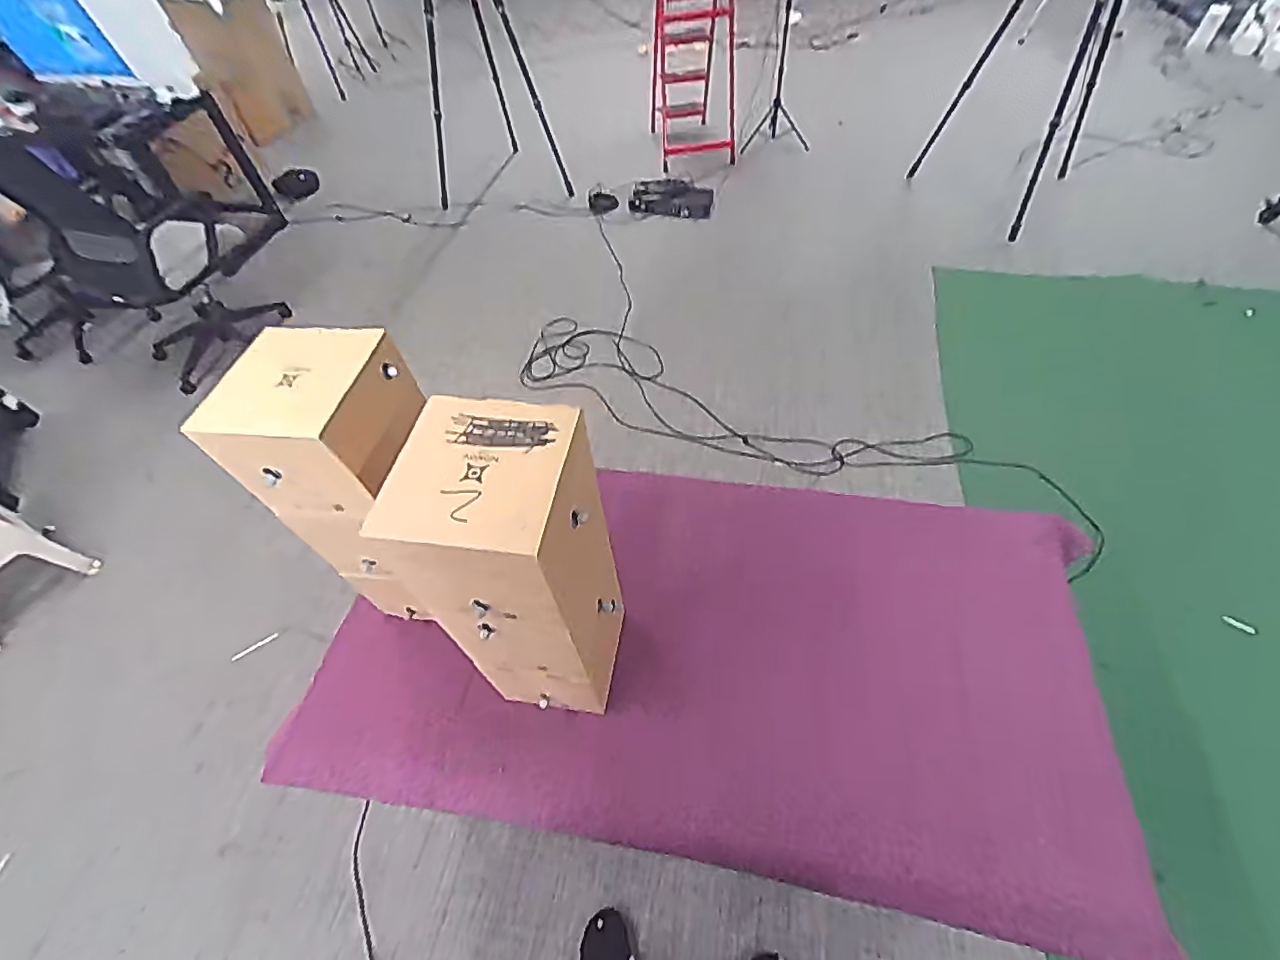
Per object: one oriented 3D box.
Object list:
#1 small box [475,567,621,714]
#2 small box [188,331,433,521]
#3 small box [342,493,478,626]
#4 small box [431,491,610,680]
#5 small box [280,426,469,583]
[{"bbox_3d":[-0.127,0.240,0.836,0.168,0.176,0.179,5,54,9],"label":"small box"},{"bbox_3d":[-0.387,-0.065,0.679,0.168,0.176,0.179,3,53,9],"label":"small box"},{"bbox_3d":[-0.365,0.132,0.937,0.168,0.176,0.179,4,54,9],"label":"small box"},{"bbox_3d":[-0.138,0.139,0.707,0.168,0.176,0.179,5,53,9],"label":"small box"},{"bbox_3d":[-0.375,0.033,0.808,0.168,0.176,0.179,4,54,9],"label":"small box"}]
